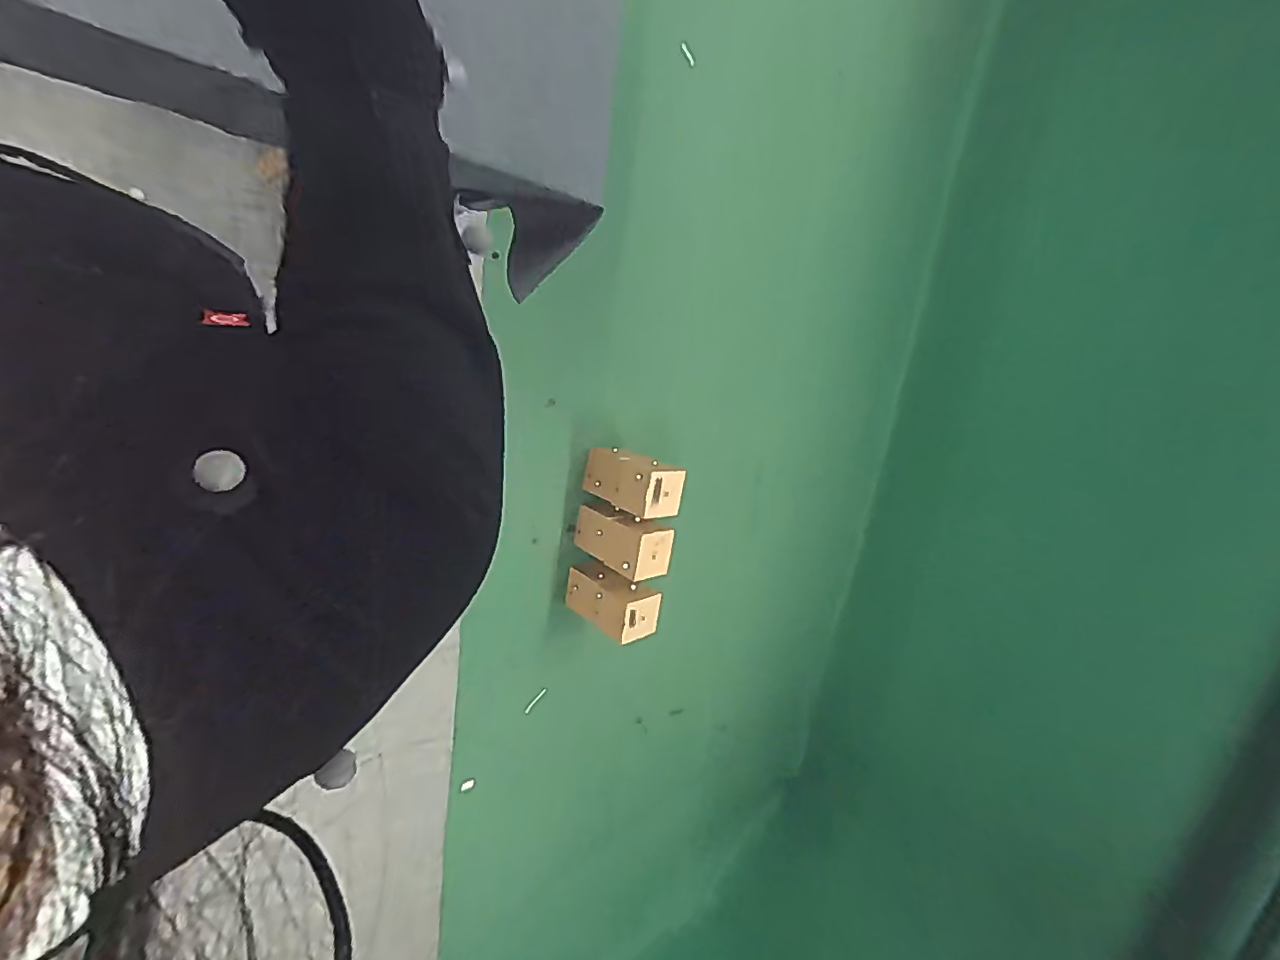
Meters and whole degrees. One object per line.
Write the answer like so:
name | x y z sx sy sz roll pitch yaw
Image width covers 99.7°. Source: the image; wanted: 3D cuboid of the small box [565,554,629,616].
small box | -0.168 0.403 2.110 0.179 0.176 0.168 -5 110 -43

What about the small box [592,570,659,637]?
small box | -0.058 0.450 1.998 0.179 0.176 0.168 -6 111 -44

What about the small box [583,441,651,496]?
small box | -0.089 -0.044 2.004 0.179 0.176 0.168 1 106 -45
